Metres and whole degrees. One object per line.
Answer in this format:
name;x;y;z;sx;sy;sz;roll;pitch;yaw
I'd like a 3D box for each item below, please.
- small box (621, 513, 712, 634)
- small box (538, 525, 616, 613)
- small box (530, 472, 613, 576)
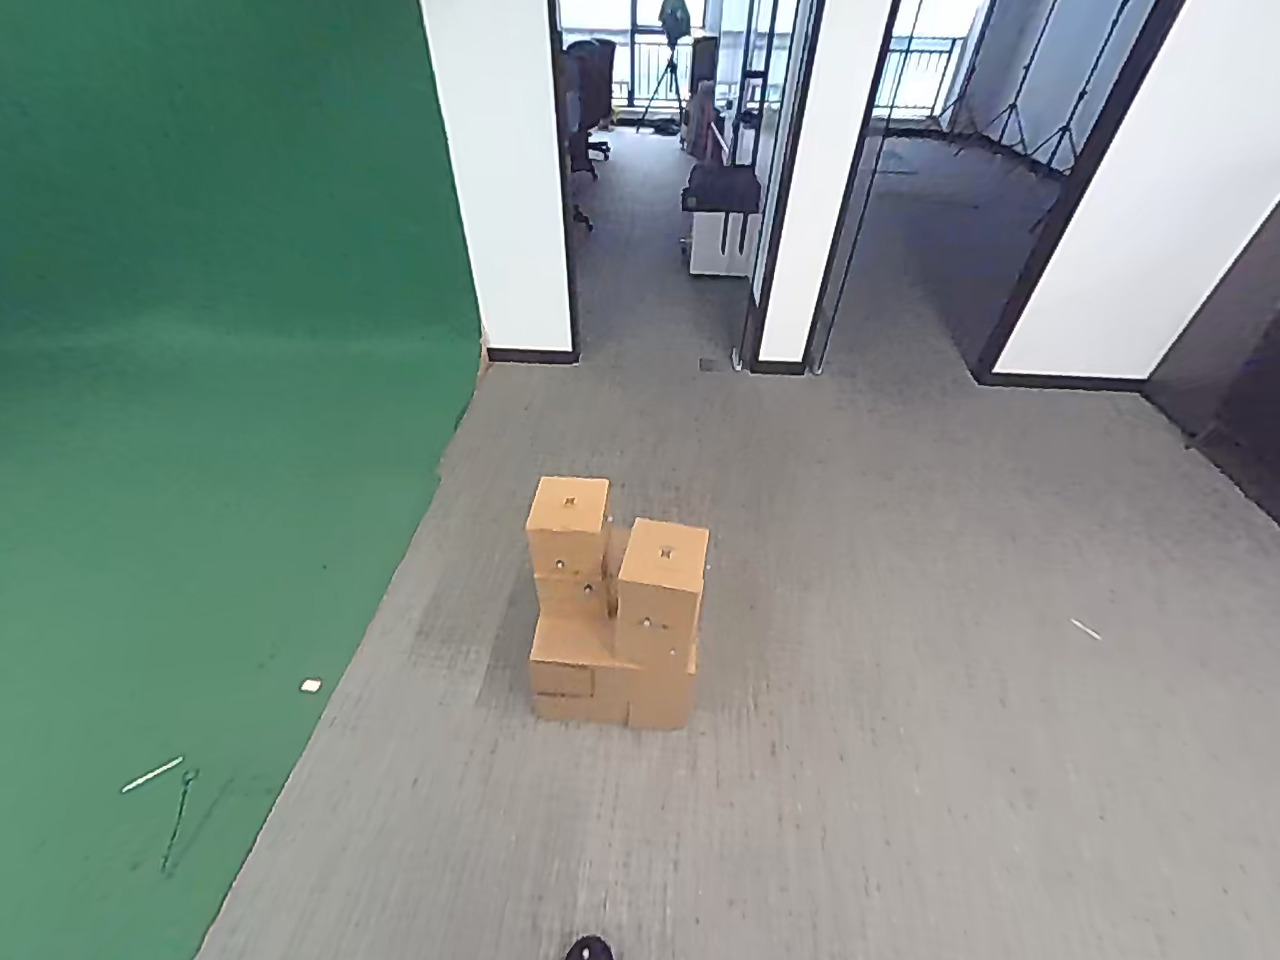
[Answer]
small box;0.055;0.202;1.175;0.168;0.176;0.179;9;42;8
small box;-0.154;0.226;1.391;0.179;0.176;0.168;2;40;2
small box;-0.155;0.104;1.283;0.168;0.176;0.179;4;42;3
